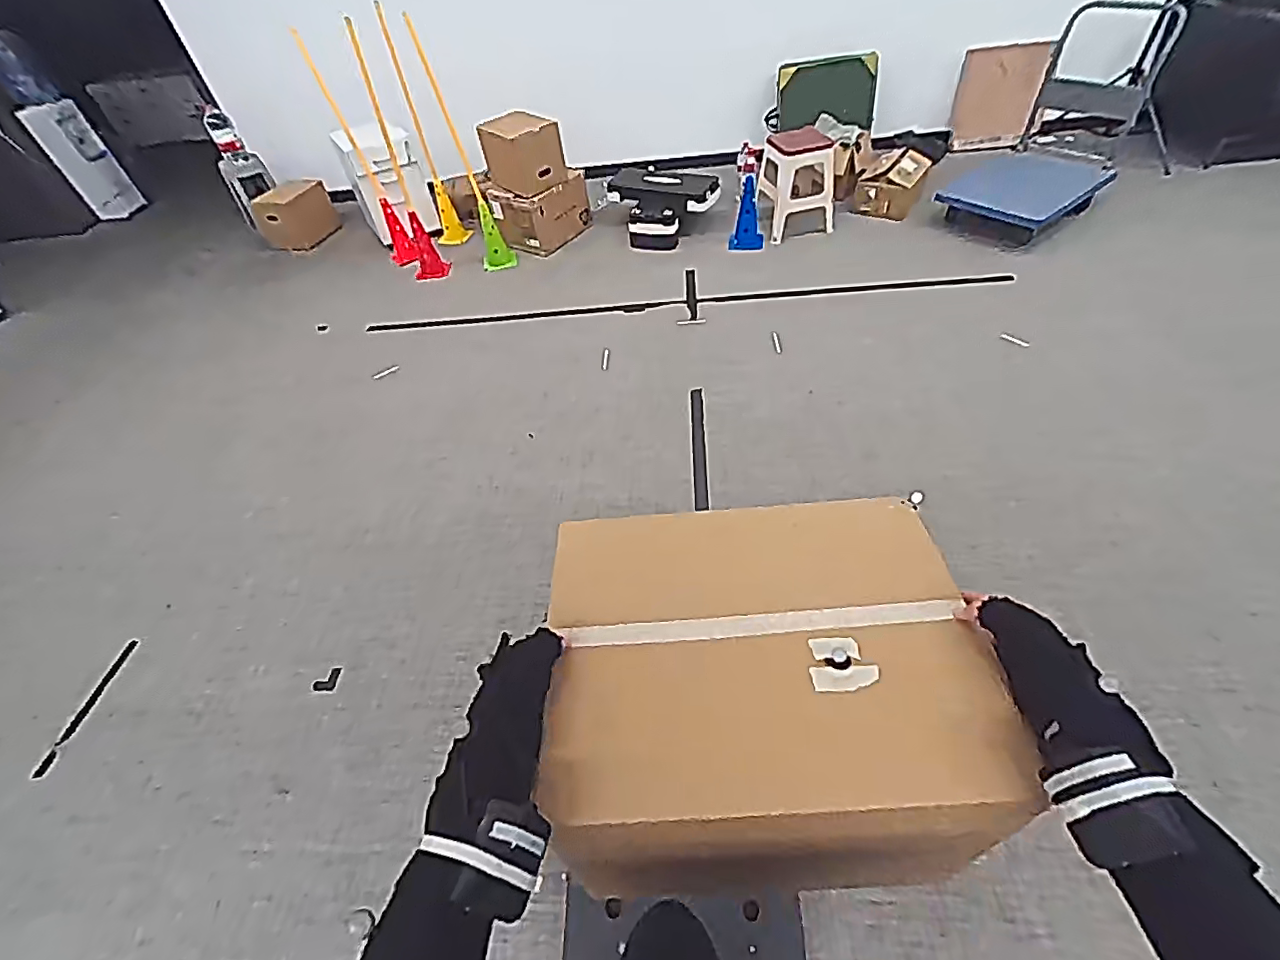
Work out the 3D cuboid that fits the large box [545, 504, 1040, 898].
[{"bbox_3d":[0.125,0.258,0.636,0.408,0.320,0.320,-5,43,2],"label":"large box"}]
